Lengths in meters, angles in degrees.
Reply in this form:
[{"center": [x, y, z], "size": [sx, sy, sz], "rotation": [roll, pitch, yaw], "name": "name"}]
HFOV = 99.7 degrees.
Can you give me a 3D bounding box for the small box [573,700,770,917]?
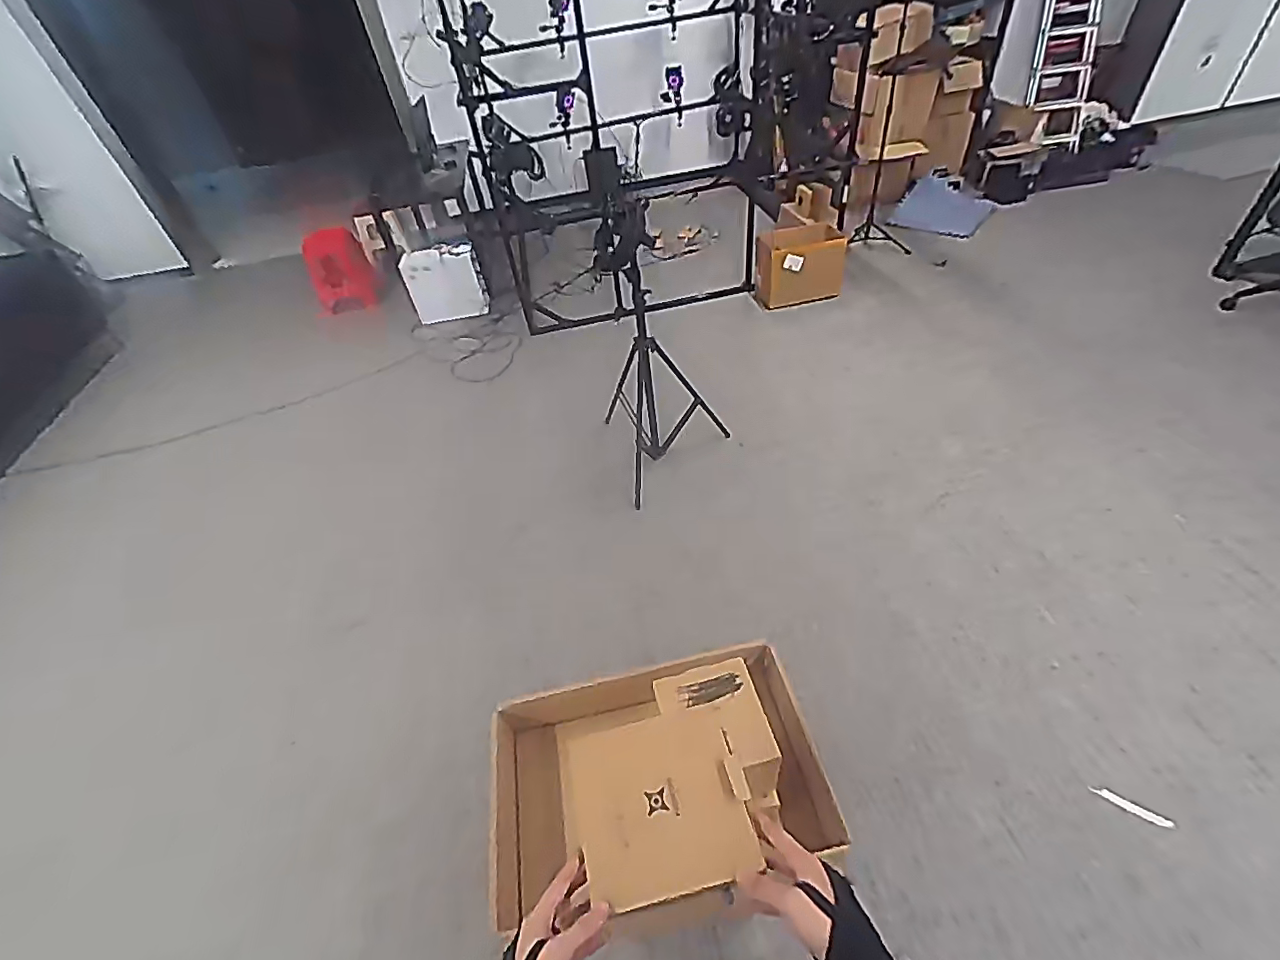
[{"center": [0.033, 0.379, 0.623], "size": [0.179, 0.176, 0.168], "rotation": [-14, 50, -2], "name": "small box"}]
